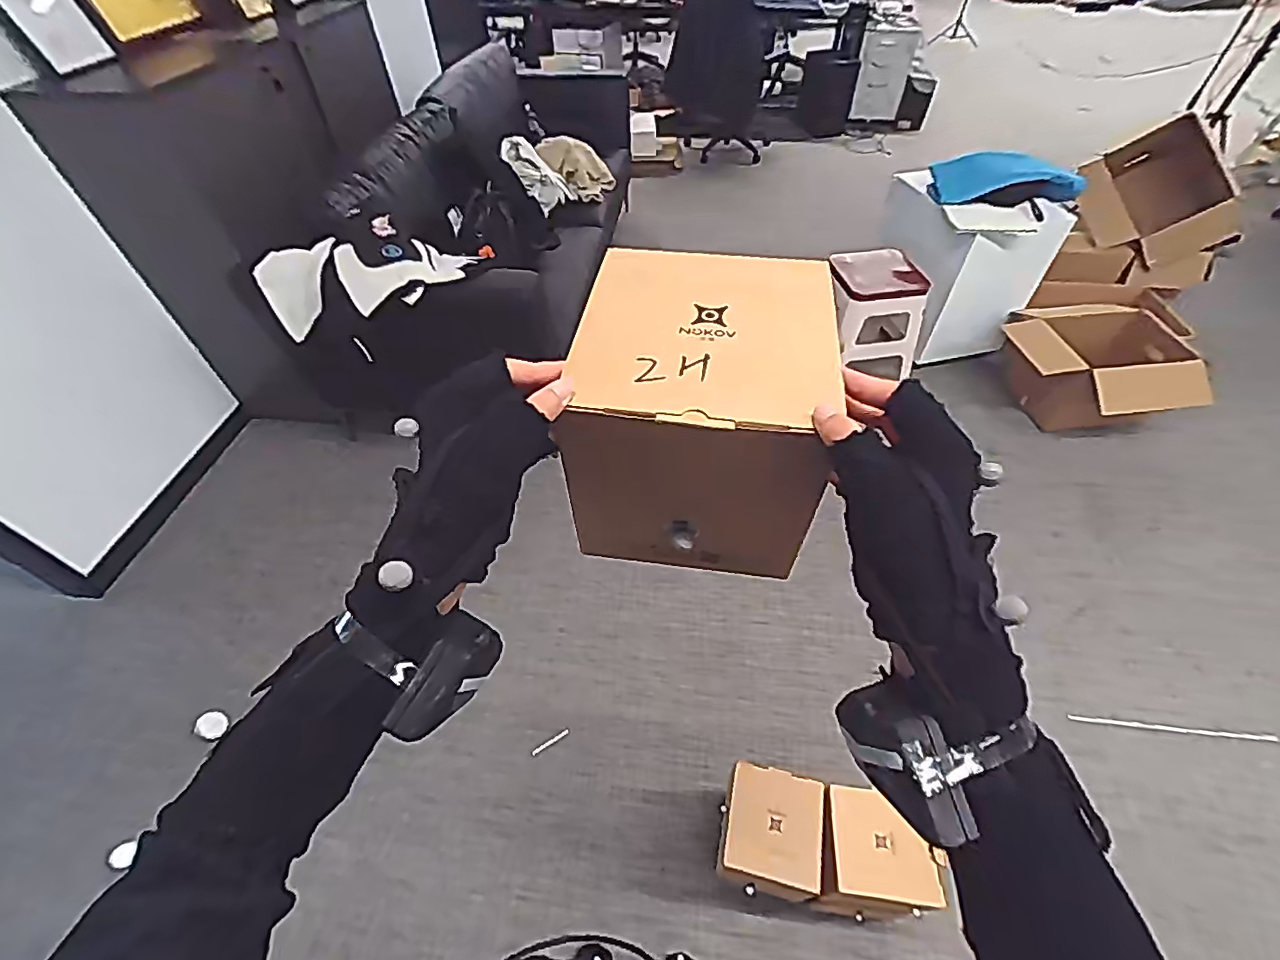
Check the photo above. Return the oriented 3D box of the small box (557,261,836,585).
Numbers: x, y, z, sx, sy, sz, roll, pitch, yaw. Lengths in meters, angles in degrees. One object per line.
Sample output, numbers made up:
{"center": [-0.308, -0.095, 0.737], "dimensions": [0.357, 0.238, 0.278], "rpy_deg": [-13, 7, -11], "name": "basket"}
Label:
{"center": [0.044, -0.044, 0.423], "dimensions": [0.168, 0.176, 0.179], "rpy_deg": [7, 51, 7], "name": "small box"}
